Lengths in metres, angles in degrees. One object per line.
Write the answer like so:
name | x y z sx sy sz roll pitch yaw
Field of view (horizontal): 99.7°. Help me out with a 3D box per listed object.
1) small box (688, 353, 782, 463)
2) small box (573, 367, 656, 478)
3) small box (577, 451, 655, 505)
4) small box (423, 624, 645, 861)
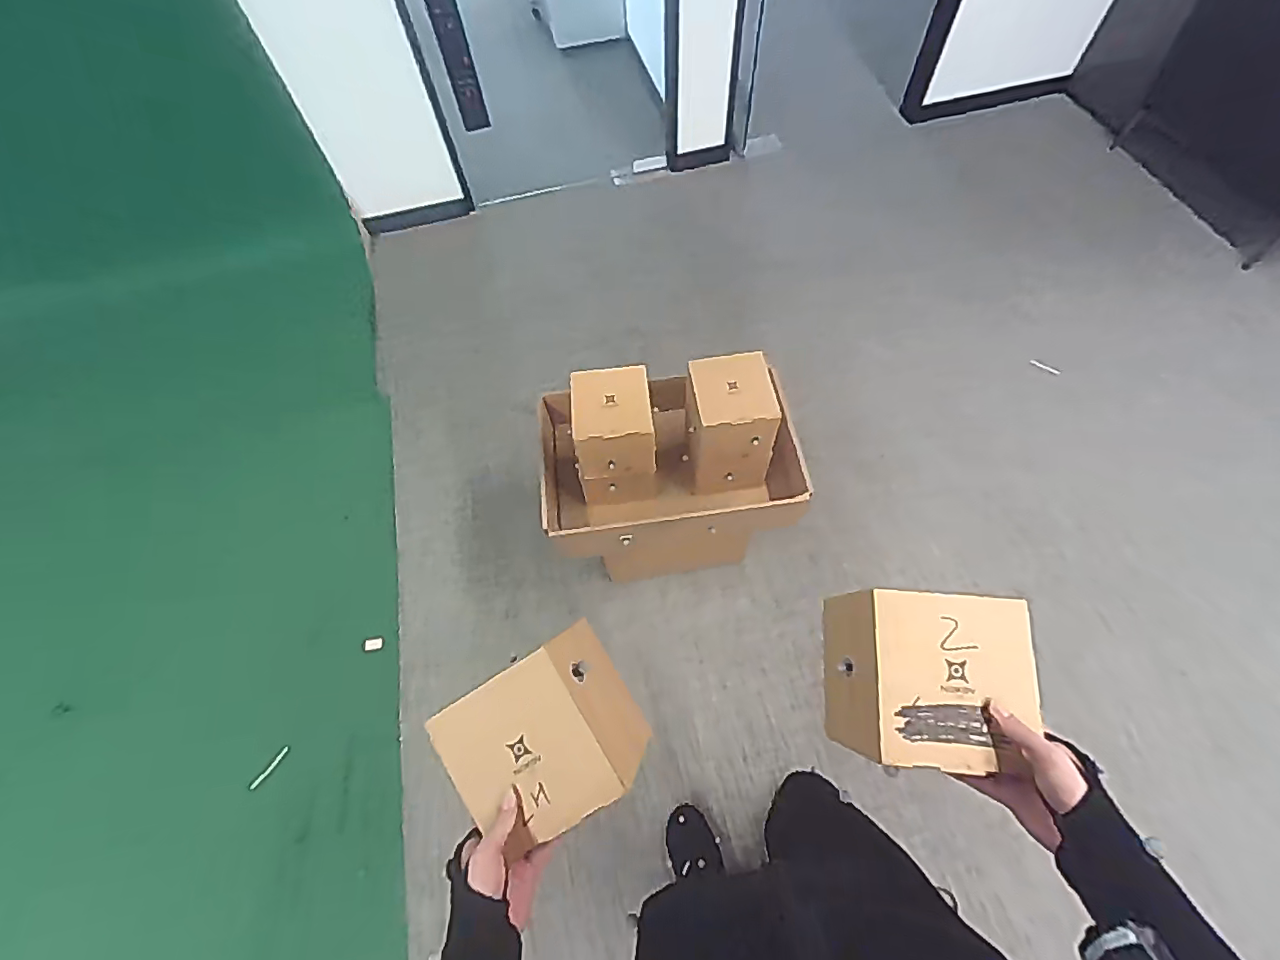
small box | 0.199 -0.149 1.185 0.168 0.176 0.179 -7 61 -2
small box | -0.056 -0.124 1.185 0.168 0.176 0.179 -5 61 -1
small box | -0.057 -0.048 1.331 0.179 0.176 0.168 -6 61 -1
small box | -0.113 0.289 0.644 0.168 0.176 0.179 -32 82 7
